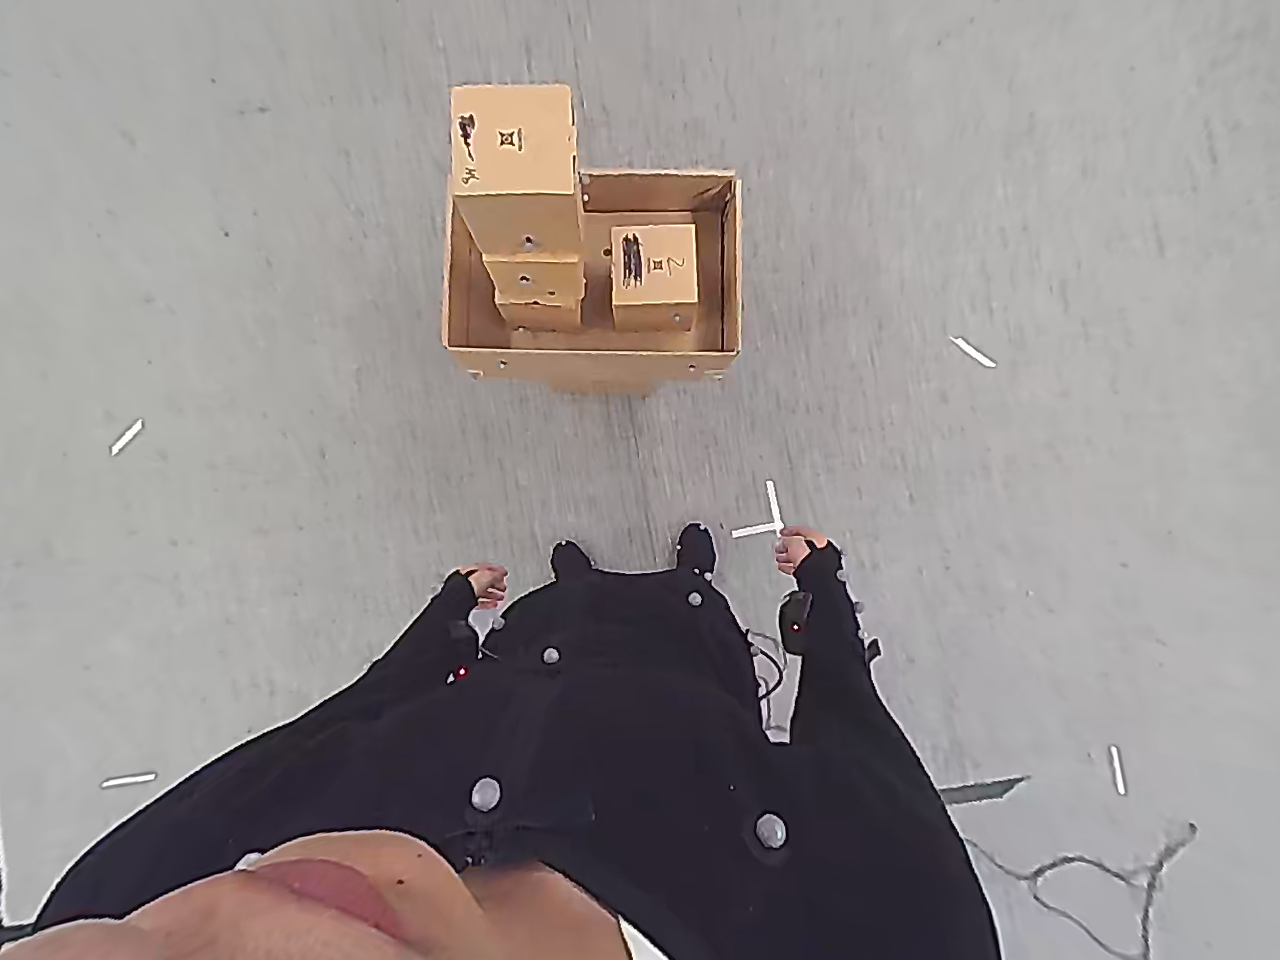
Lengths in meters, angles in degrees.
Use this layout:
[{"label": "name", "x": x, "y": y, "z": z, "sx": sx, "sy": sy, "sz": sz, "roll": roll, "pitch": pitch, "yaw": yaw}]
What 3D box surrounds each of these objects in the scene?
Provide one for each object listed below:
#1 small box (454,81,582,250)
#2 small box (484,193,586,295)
[{"label": "small box", "x": -0.180, "y": -0.479, "z": 0.846, "sx": 0.179, "sy": 0.176, "sz": 0.168, "roll": -1, "pitch": 85, "yaw": -3}, {"label": "small box", "x": -0.187, "y": -0.458, "z": 1.008, "sx": 0.168, "sy": 0.176, "sz": 0.179, "roll": 0, "pitch": 86, "yaw": -3}]
